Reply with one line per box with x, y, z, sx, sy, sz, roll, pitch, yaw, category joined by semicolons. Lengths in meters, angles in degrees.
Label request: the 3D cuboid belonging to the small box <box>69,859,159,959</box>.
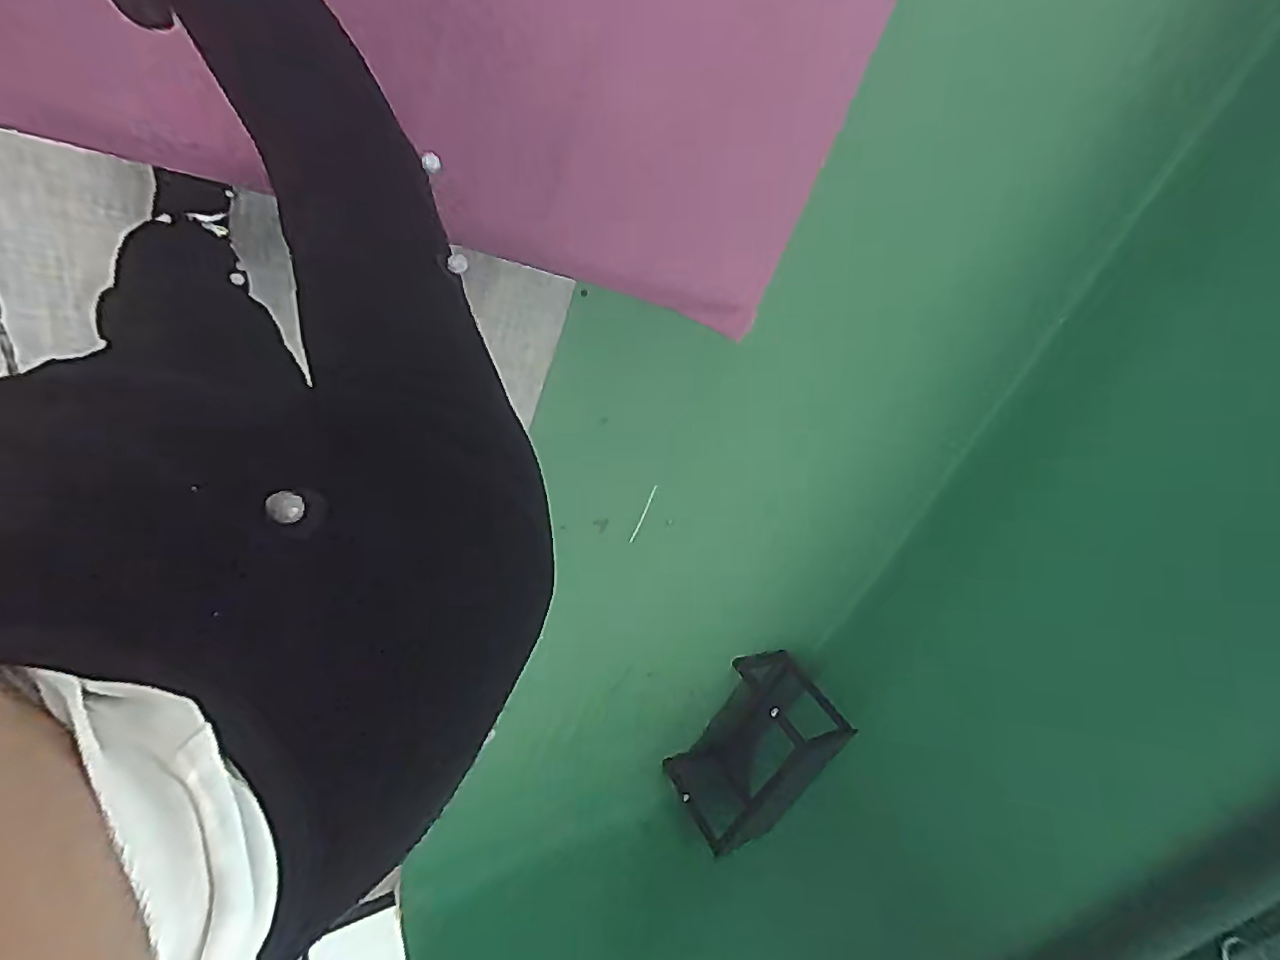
-1.494;1.233;1.541;0.168;0.176;0.179;8;118;-41;small box

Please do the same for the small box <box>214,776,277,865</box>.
-1.339;1.147;1.833;0.168;0.176;0.179;0;125;-38;small box
